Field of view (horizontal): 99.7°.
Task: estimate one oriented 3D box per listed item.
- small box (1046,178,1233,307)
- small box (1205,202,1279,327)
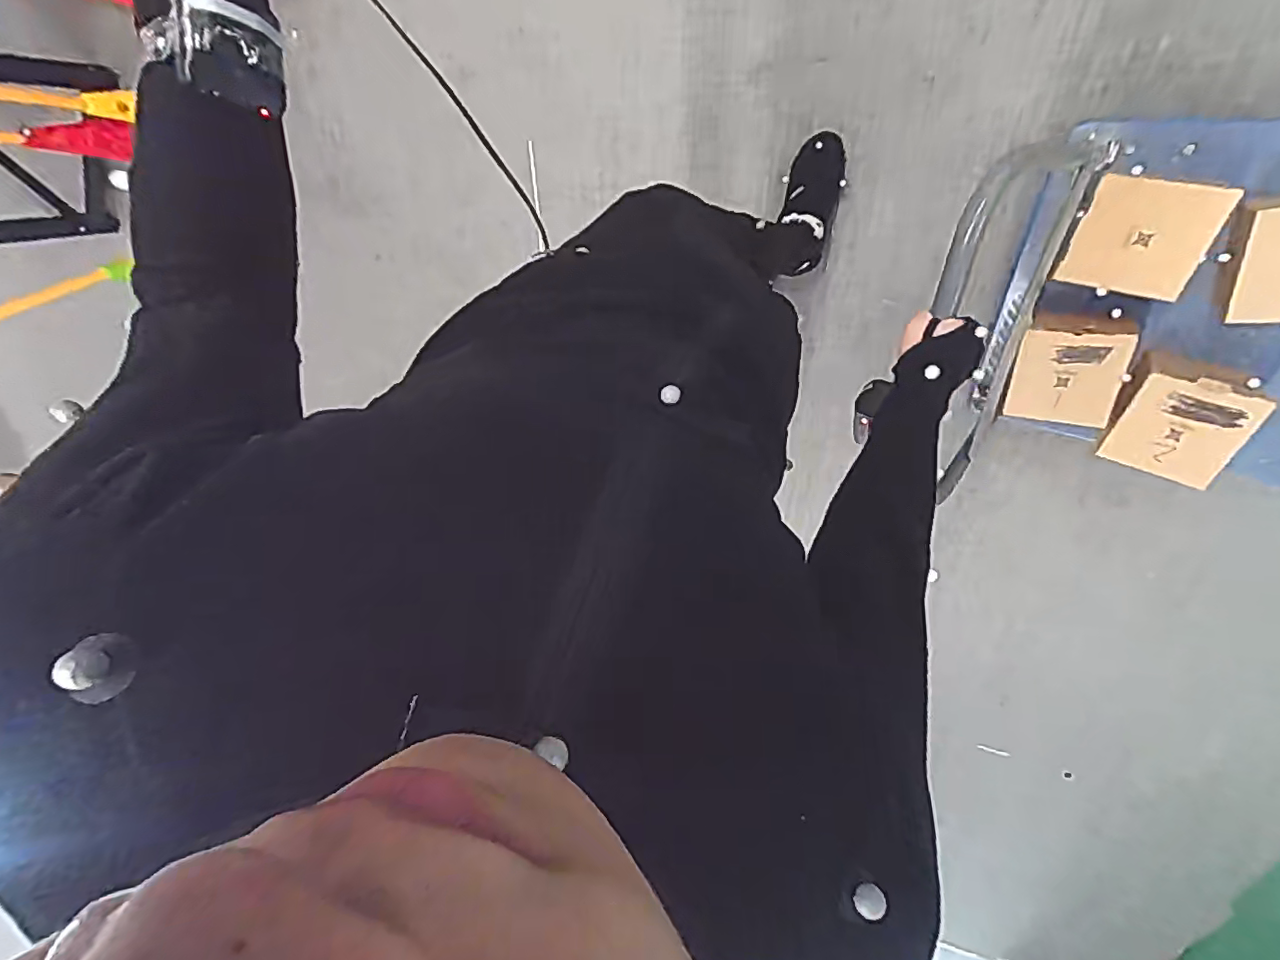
[{"bbox_3d":[0.846,-0.417,0.932,0.179,0.176,0.168,26,130,27],"label":"small box"},{"bbox_3d":[1.018,-0.335,0.832,0.179,0.176,0.168,11,122,36],"label":"small box"}]
